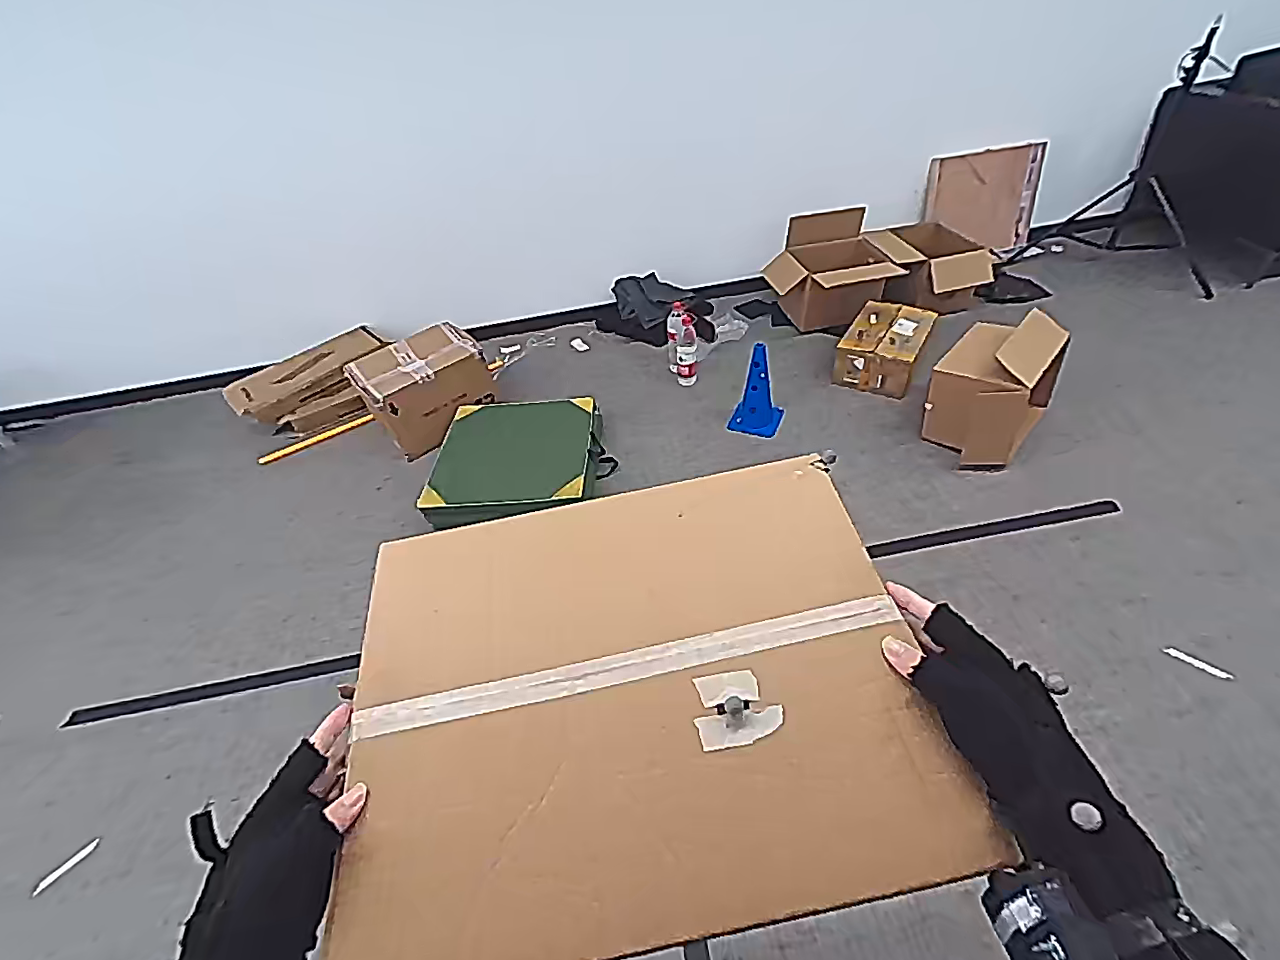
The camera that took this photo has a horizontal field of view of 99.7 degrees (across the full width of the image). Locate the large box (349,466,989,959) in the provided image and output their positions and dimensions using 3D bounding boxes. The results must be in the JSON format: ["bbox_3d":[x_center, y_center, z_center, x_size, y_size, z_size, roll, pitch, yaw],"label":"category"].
[{"bbox_3d":[0.008,0.234,0.528,0.408,0.320,0.320,-11,53,-2],"label":"large box"}]
